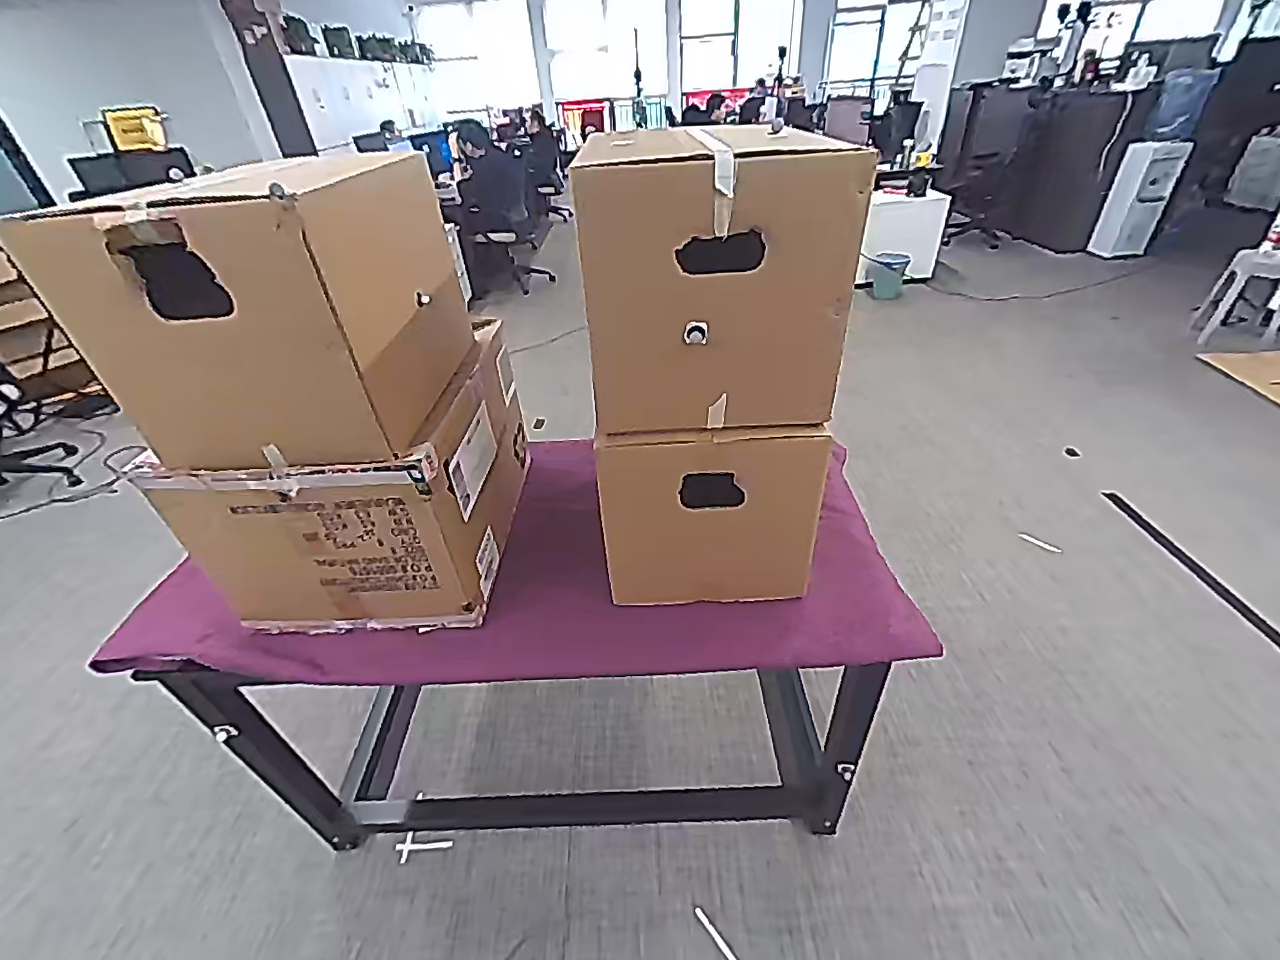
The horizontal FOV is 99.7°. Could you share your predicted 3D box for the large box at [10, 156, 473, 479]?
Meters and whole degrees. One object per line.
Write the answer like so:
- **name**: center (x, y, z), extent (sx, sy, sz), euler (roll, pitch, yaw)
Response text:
- **large box**: center (-0.461, -0.249, 0.768), extent (0.320, 0.320, 0.408), euler (-5, 37, 2)
